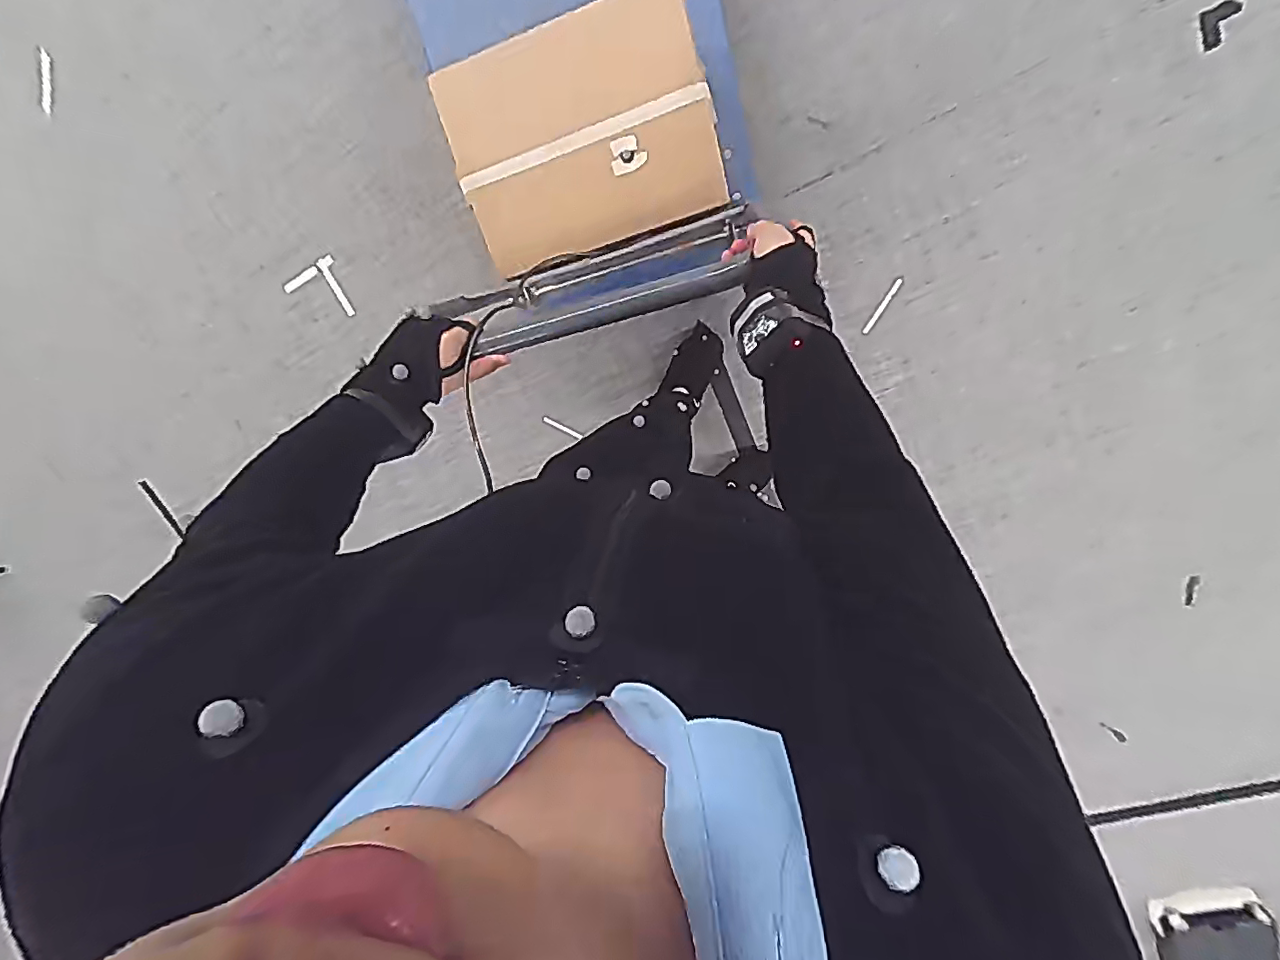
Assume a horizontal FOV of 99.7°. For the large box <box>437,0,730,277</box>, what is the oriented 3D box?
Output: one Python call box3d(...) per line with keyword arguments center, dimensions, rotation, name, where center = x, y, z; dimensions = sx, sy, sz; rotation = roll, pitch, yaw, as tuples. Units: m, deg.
box3d(center=(-0.073, -0.586, 0.984), dimensions=(0.408, 0.320, 0.320), rotation=(-14, 109, 12), name="large box")
